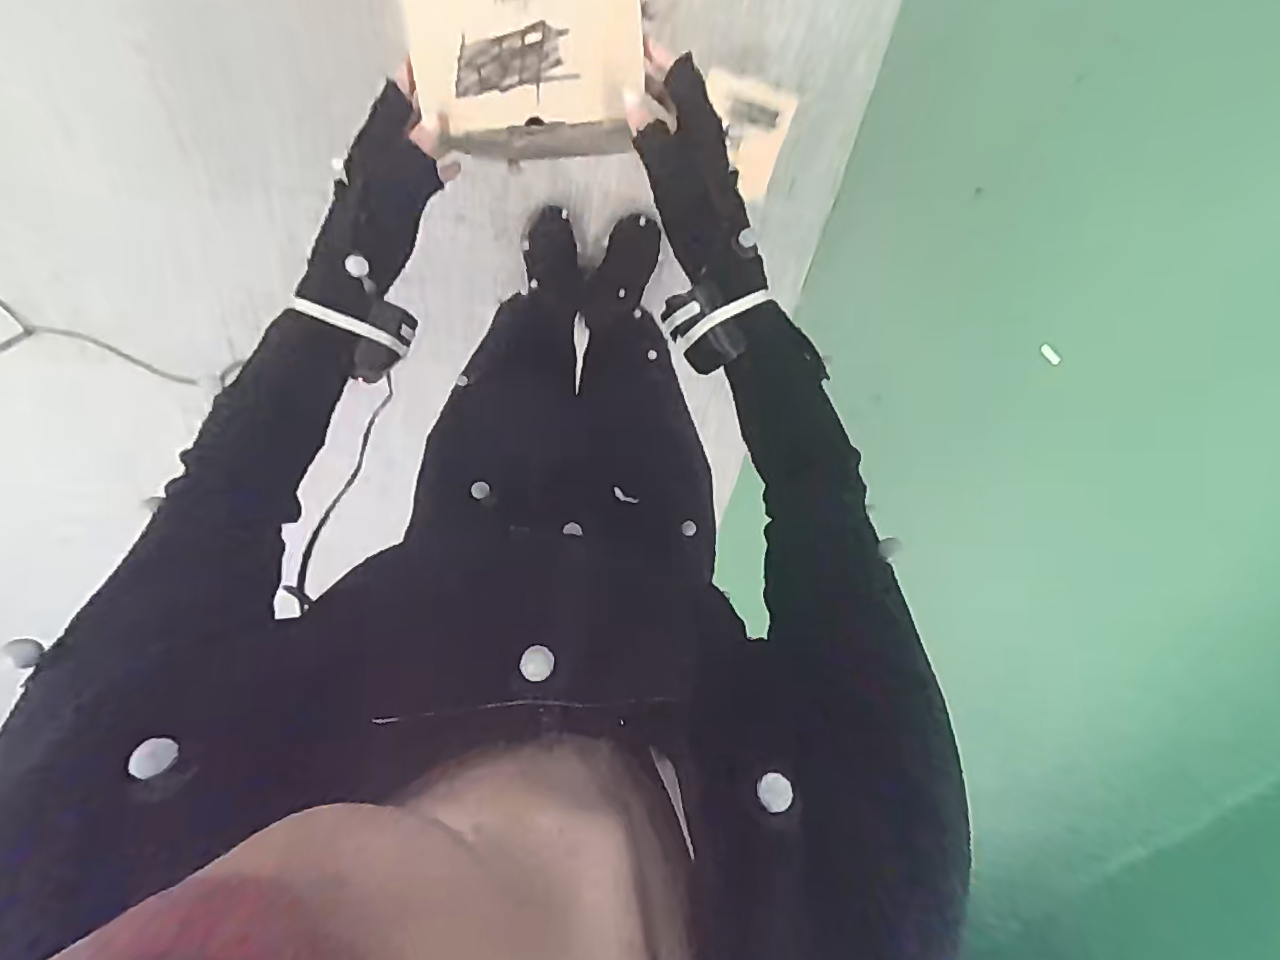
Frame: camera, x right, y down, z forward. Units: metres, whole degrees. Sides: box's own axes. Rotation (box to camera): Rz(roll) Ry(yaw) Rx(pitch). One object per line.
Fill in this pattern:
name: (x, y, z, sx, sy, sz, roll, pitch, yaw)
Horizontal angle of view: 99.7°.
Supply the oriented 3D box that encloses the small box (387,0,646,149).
small box: (-0.084, -0.369, 0.420, 0.168, 0.176, 0.179, -3, 114, 4)
